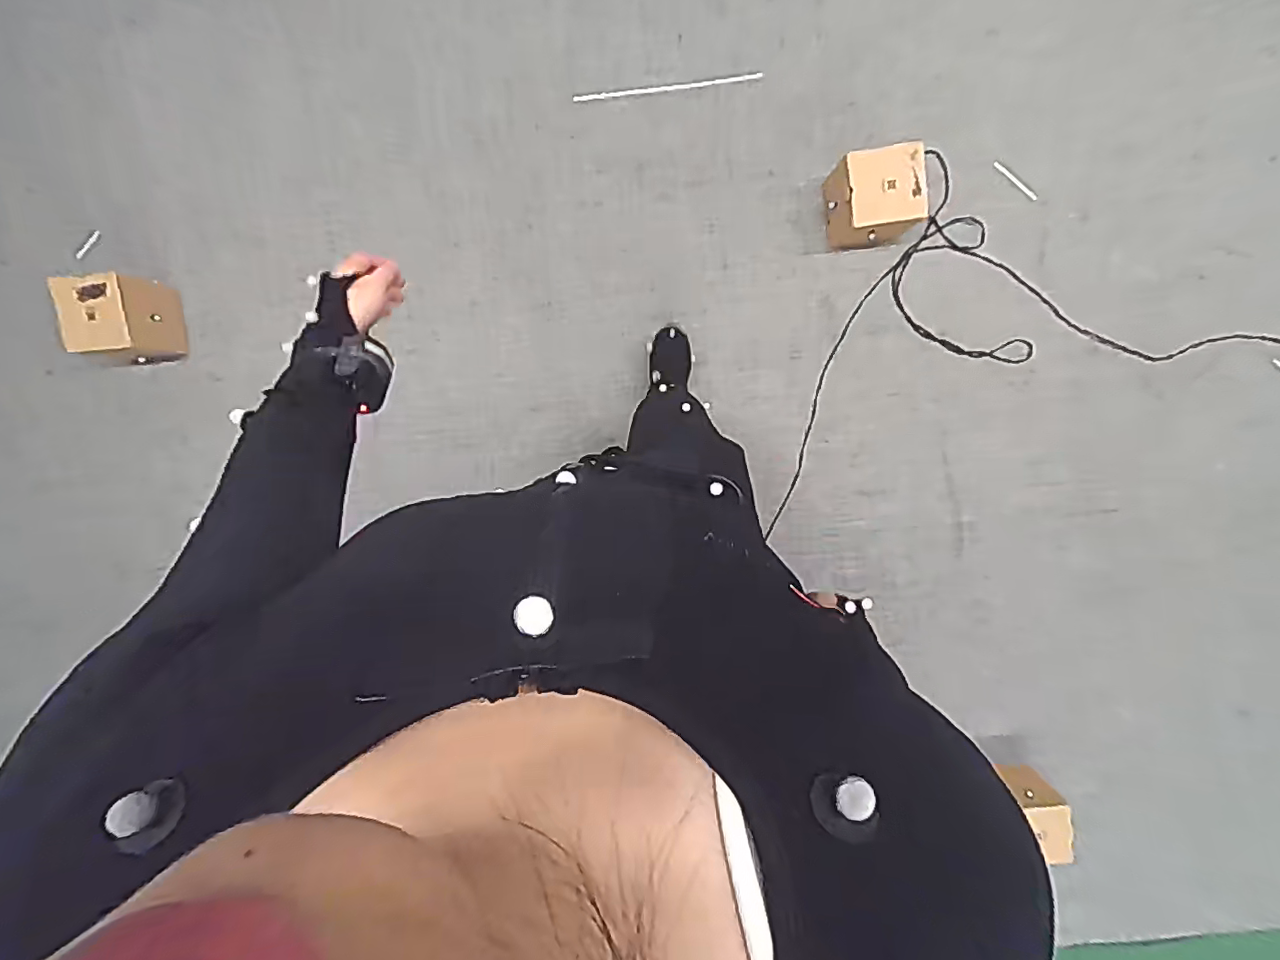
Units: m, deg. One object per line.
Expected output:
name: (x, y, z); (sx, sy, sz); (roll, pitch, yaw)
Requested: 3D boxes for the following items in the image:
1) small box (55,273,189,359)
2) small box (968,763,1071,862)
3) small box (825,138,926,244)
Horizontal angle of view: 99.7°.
small box: (-1.300, -0.409, 1.370); (0.168, 0.176, 0.179); (-5, 98, 1)
small box: (1.046, 0.914, 1.499); (0.179, 0.176, 0.168); (-7, 96, 3)
small box: (0.555, -0.683, 1.298); (0.179, 0.176, 0.168); (-8, 98, 3)
